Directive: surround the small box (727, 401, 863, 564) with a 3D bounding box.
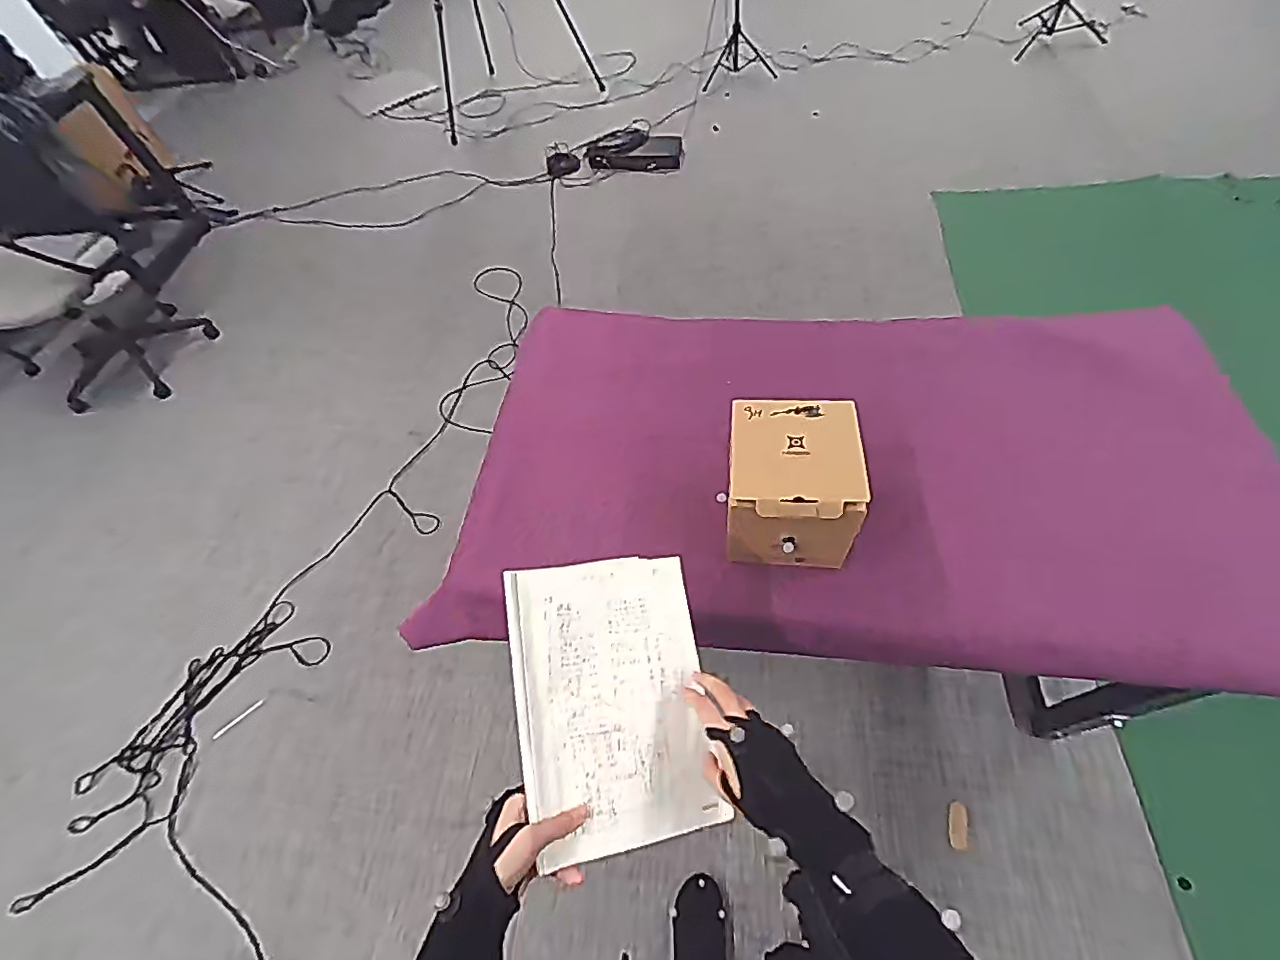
[{"bbox_3d":[0.211,0.008,0.774,0.168,0.176,0.179,2,58,9],"label":"small box"}]
